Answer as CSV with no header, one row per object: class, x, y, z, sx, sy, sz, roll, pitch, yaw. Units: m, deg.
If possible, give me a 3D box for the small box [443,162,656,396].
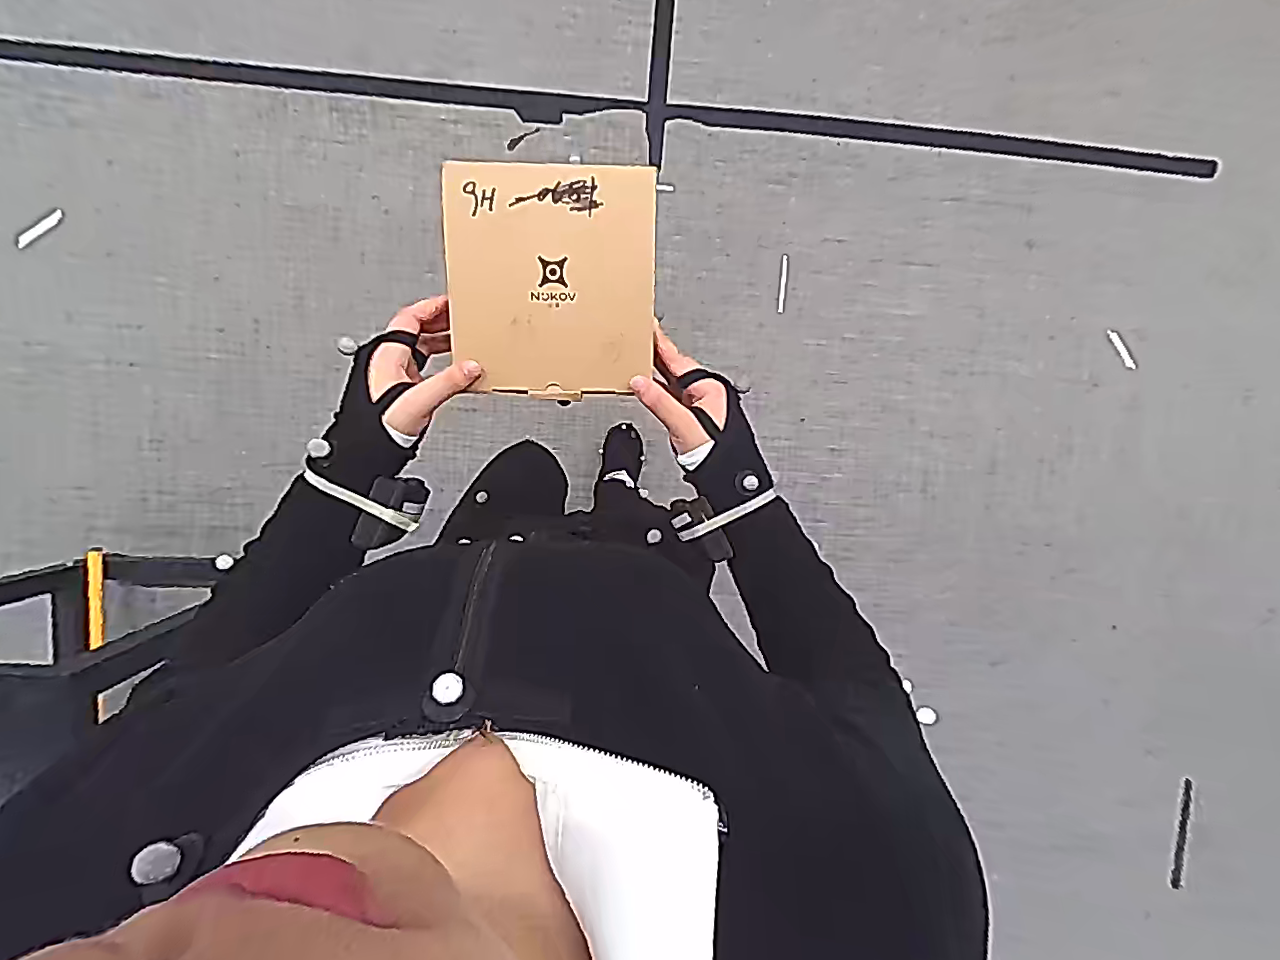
small box,-0.073,-0.176,0.511,0.168,0.176,0.179,0,104,-2
